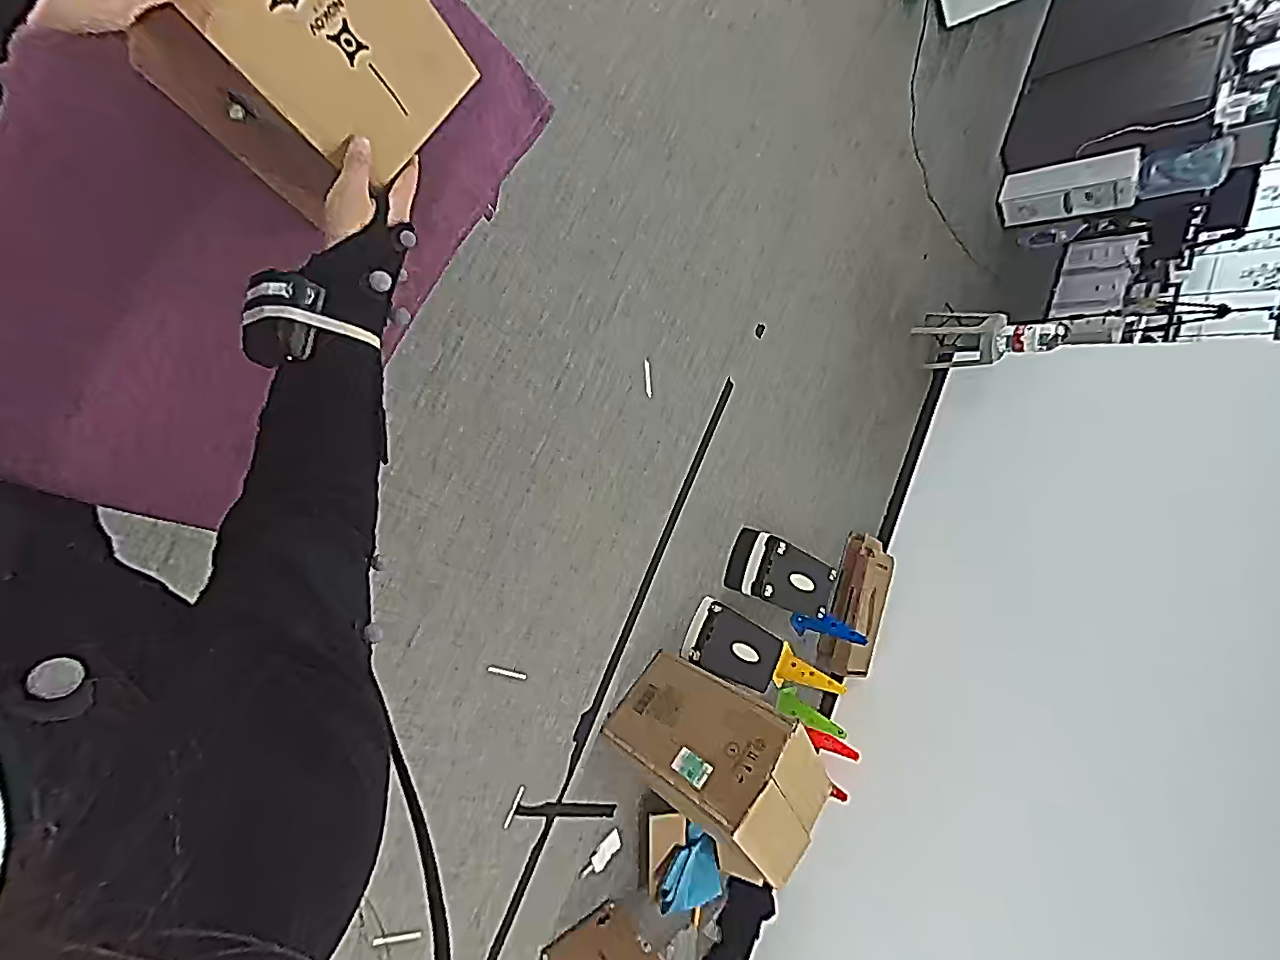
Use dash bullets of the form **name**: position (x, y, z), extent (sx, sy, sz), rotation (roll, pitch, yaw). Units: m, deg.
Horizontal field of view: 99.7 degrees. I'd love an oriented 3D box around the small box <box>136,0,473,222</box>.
- **small box**: position (-0.294, -0.358, 0.477), extent (0.179, 0.176, 0.168), rotation (44, 70, -42)
